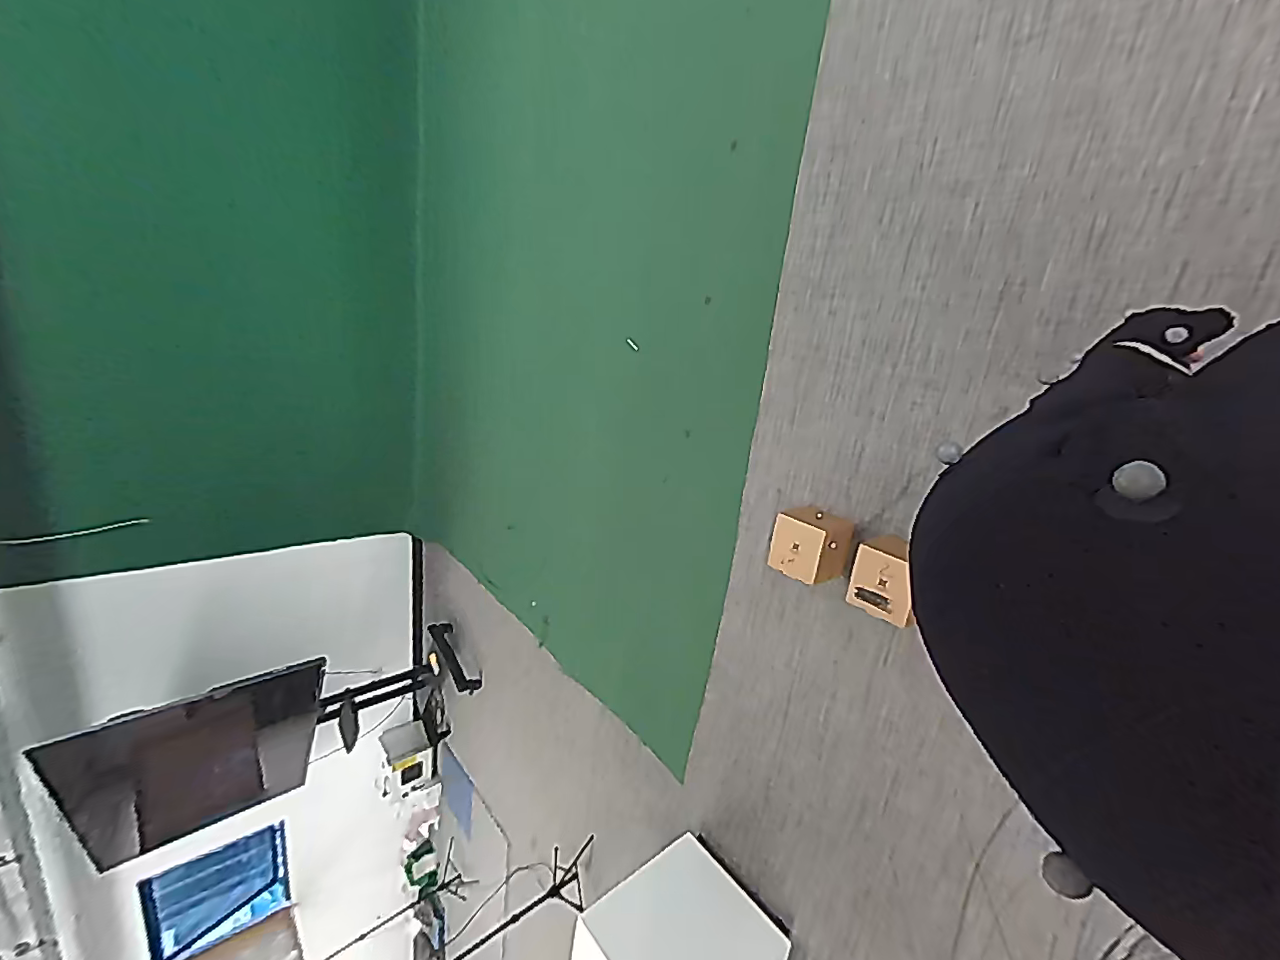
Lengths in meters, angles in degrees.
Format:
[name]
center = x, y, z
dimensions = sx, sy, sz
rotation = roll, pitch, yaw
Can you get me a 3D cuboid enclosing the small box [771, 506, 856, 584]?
[small box]
center = 0.526, 0.188, 1.630
dimensions = 0.168, 0.176, 0.179
rotation = 25, 113, 46
